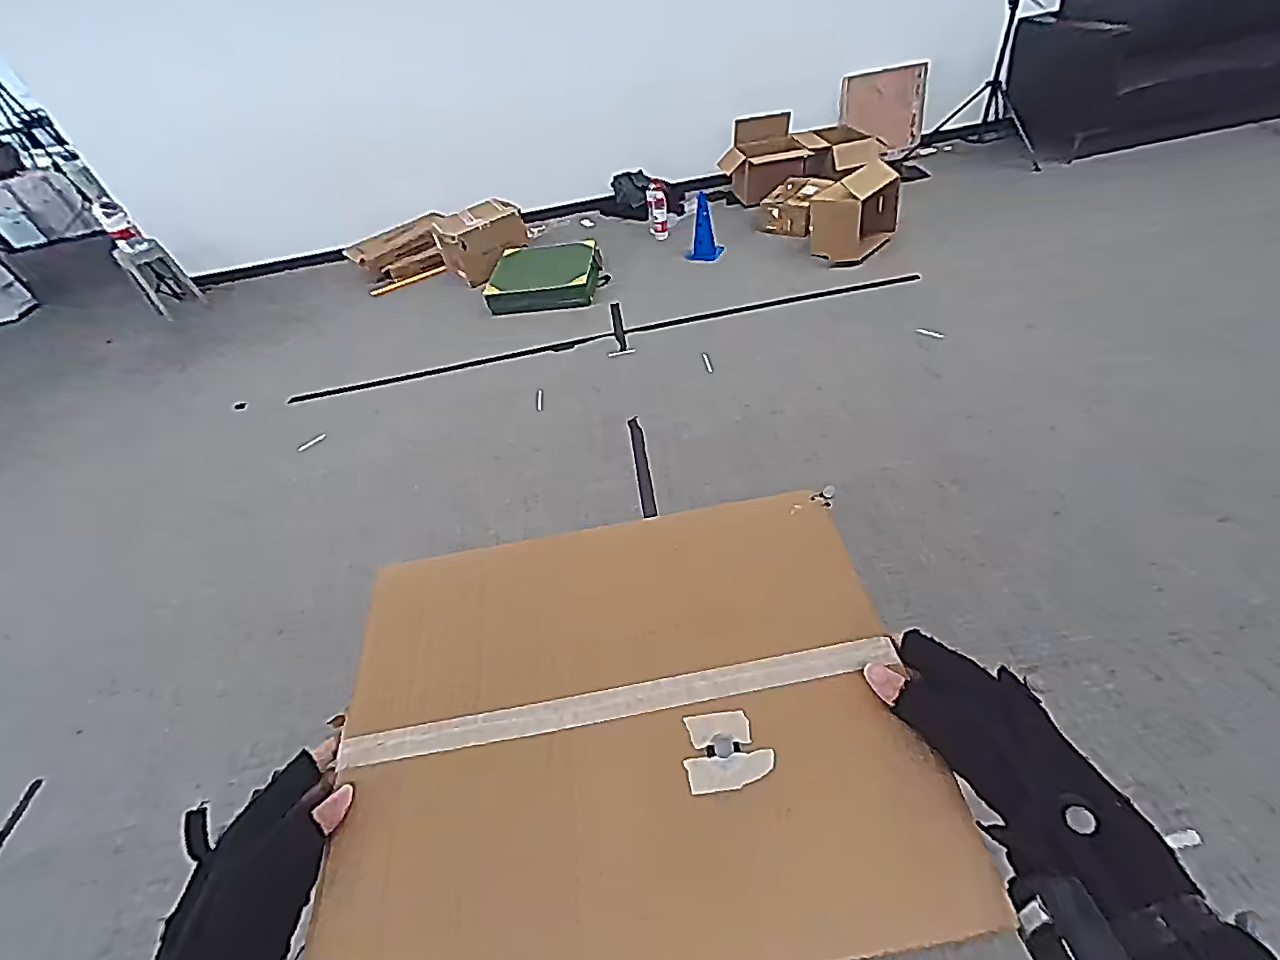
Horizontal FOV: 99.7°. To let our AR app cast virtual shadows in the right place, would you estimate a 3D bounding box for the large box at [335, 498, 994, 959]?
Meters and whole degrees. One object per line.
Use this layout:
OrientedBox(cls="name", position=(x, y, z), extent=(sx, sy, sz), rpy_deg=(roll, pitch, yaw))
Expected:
OrientedBox(cls="large box", position=(0.006, 0.262, 0.518), extent=(0.408, 0.320, 0.320), rpy_deg=(-10, 51, -1))
